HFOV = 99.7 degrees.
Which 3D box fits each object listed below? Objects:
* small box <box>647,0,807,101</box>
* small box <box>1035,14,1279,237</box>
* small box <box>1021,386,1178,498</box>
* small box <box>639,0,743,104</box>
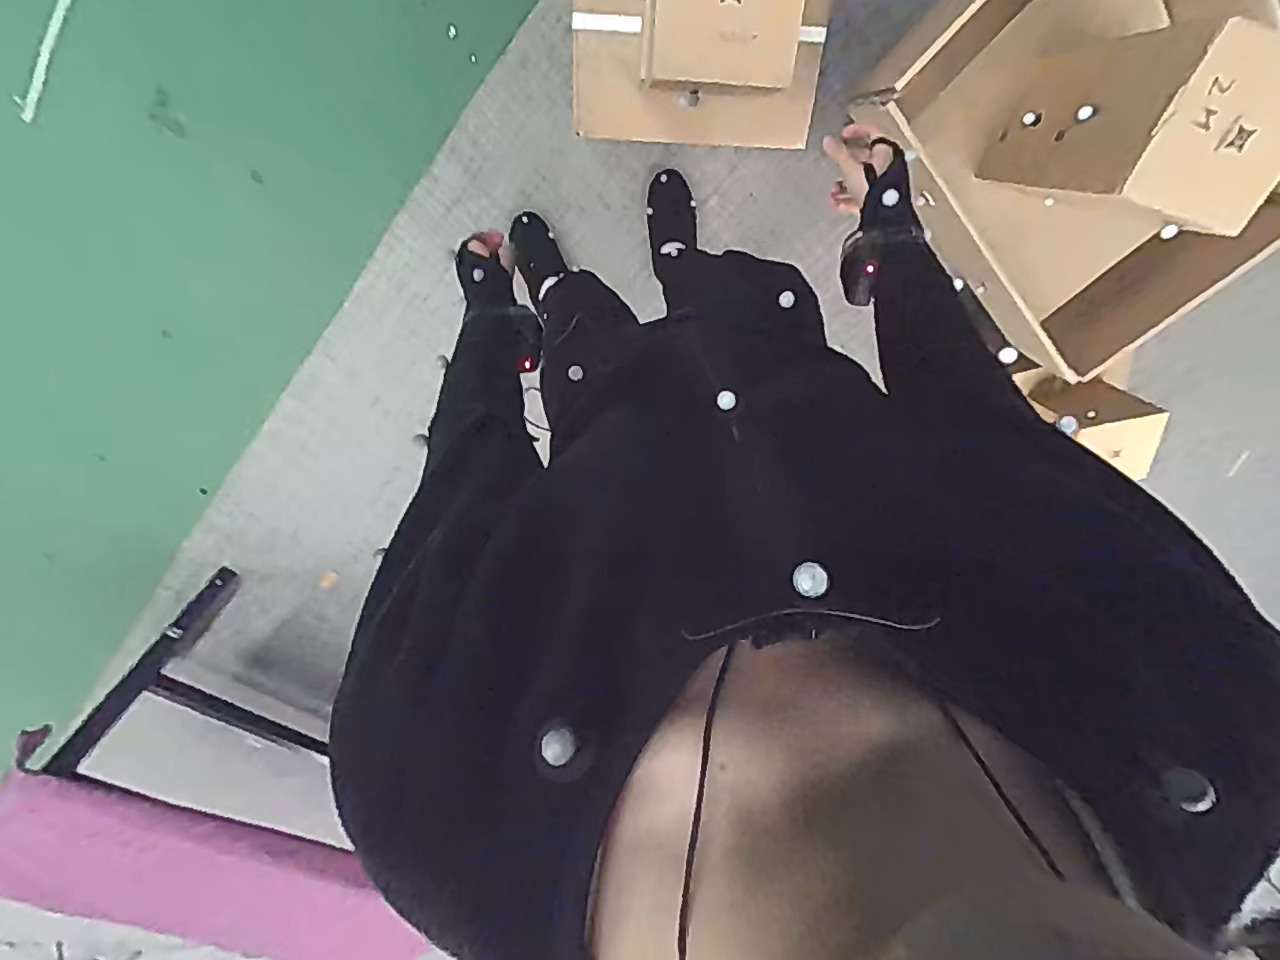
[{"bbox_3d":[0.098,-0.570,0.644,0.168,0.176,0.179,3,122,-3],"label":"small box"},{"bbox_3d":[0.635,-0.407,0.639,0.179,0.176,0.168,12,120,-8],"label":"small box"},{"bbox_3d":[0.981,-0.089,1.172,0.179,0.176,0.168,-11,122,4],"label":"small box"},{"bbox_3d":[0.089,-0.662,0.778,0.168,0.176,0.179,5,122,-5],"label":"small box"}]
